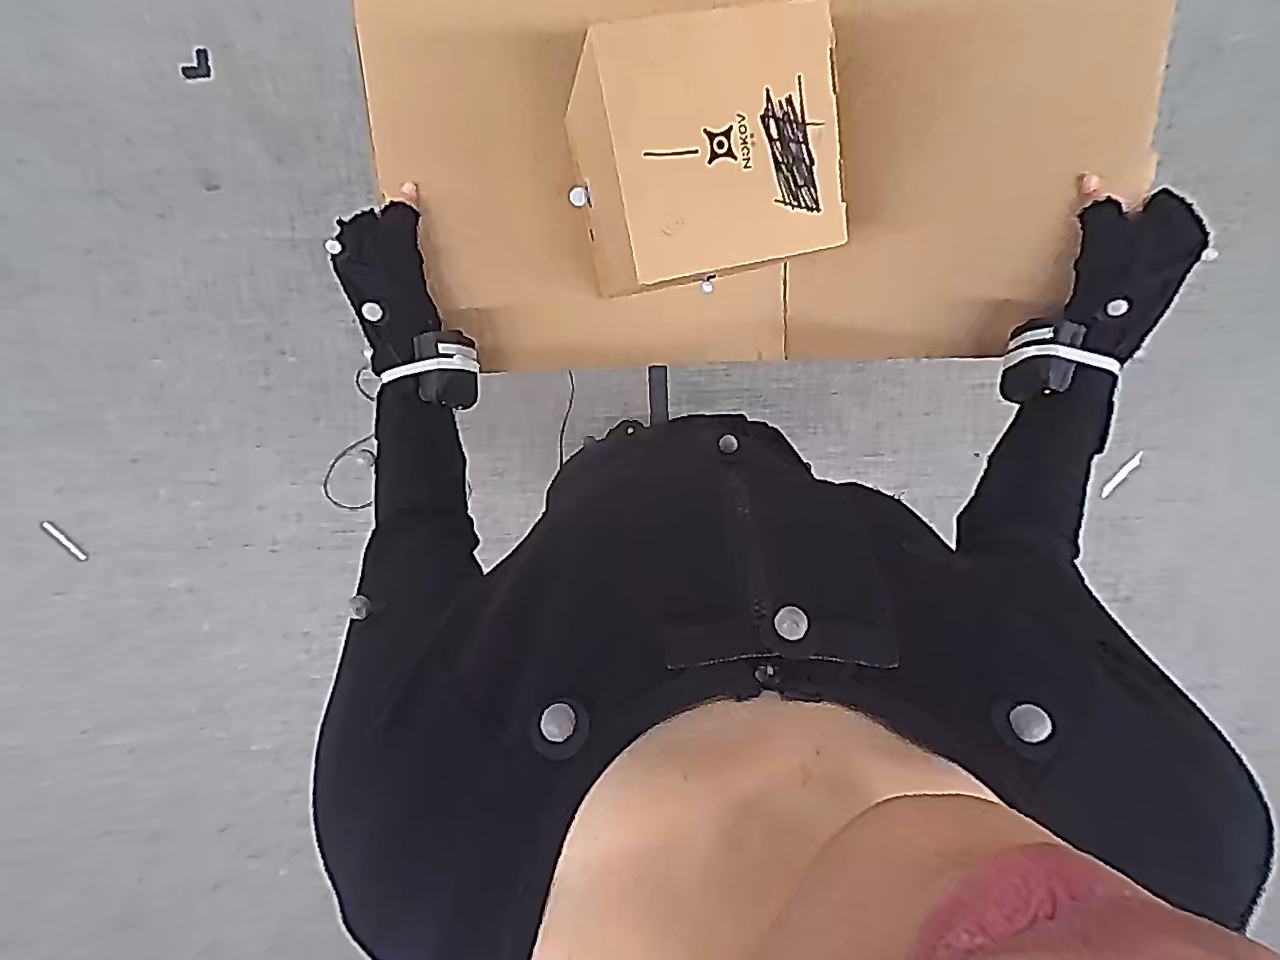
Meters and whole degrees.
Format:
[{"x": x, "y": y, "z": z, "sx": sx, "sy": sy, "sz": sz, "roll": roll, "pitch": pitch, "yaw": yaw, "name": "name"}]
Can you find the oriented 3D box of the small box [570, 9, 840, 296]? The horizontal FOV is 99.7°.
[{"x": 0.047, "y": -0.265, "z": 0.475, "sx": 0.179, "sy": 0.176, "sz": 0.168, "roll": -15, "pitch": 107, "yaw": -9, "name": "small box"}]
